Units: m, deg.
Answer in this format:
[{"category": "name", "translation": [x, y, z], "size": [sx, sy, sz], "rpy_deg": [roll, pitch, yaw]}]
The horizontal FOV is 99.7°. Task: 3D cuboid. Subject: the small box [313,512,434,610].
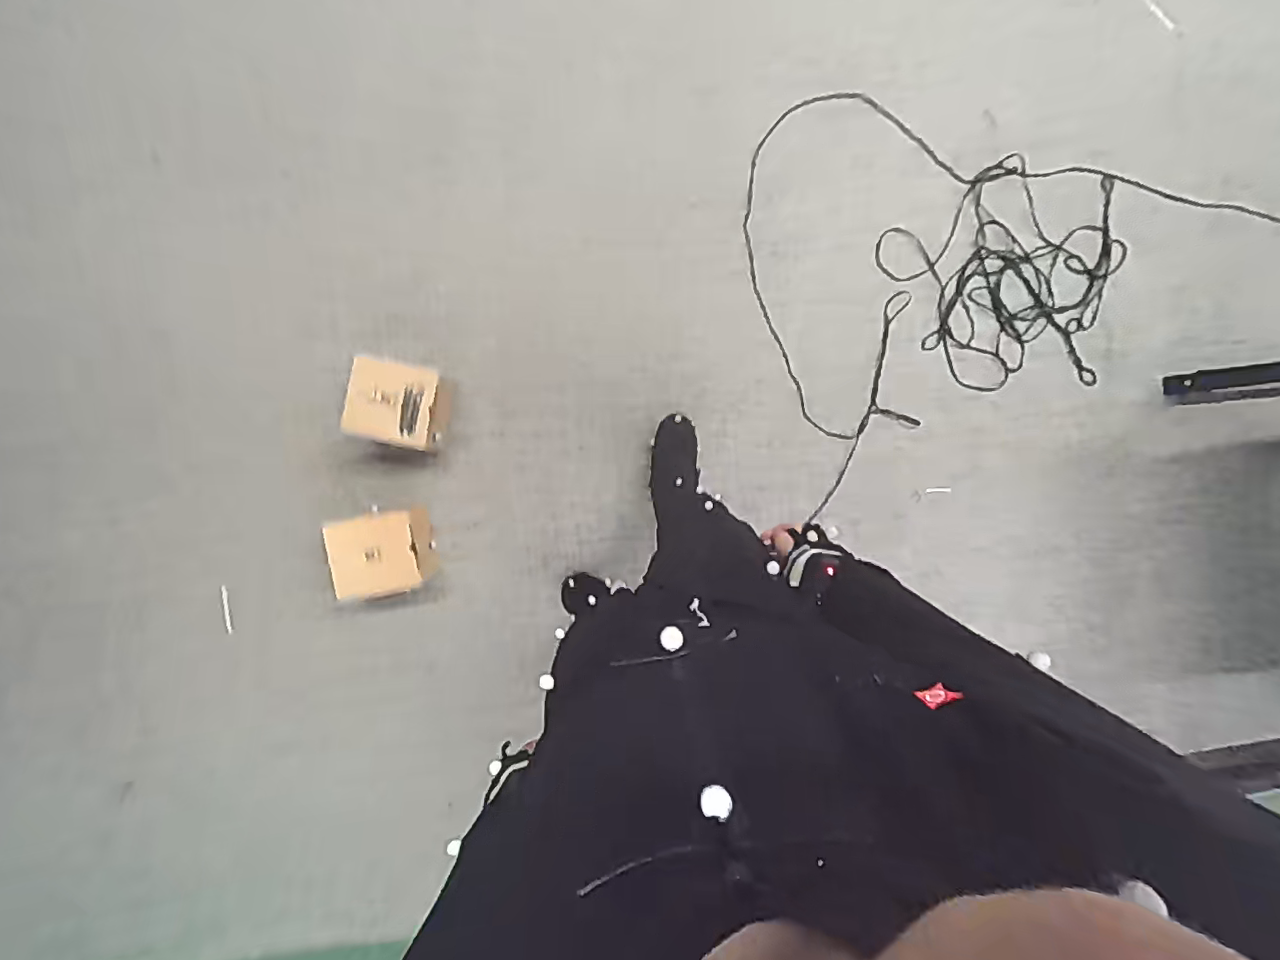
[{"category": "small box", "translation": [-0.572, 0.169, 1.179], "size": [0.179, 0.176, 0.168], "rpy_deg": [-10, 93, -7]}]
